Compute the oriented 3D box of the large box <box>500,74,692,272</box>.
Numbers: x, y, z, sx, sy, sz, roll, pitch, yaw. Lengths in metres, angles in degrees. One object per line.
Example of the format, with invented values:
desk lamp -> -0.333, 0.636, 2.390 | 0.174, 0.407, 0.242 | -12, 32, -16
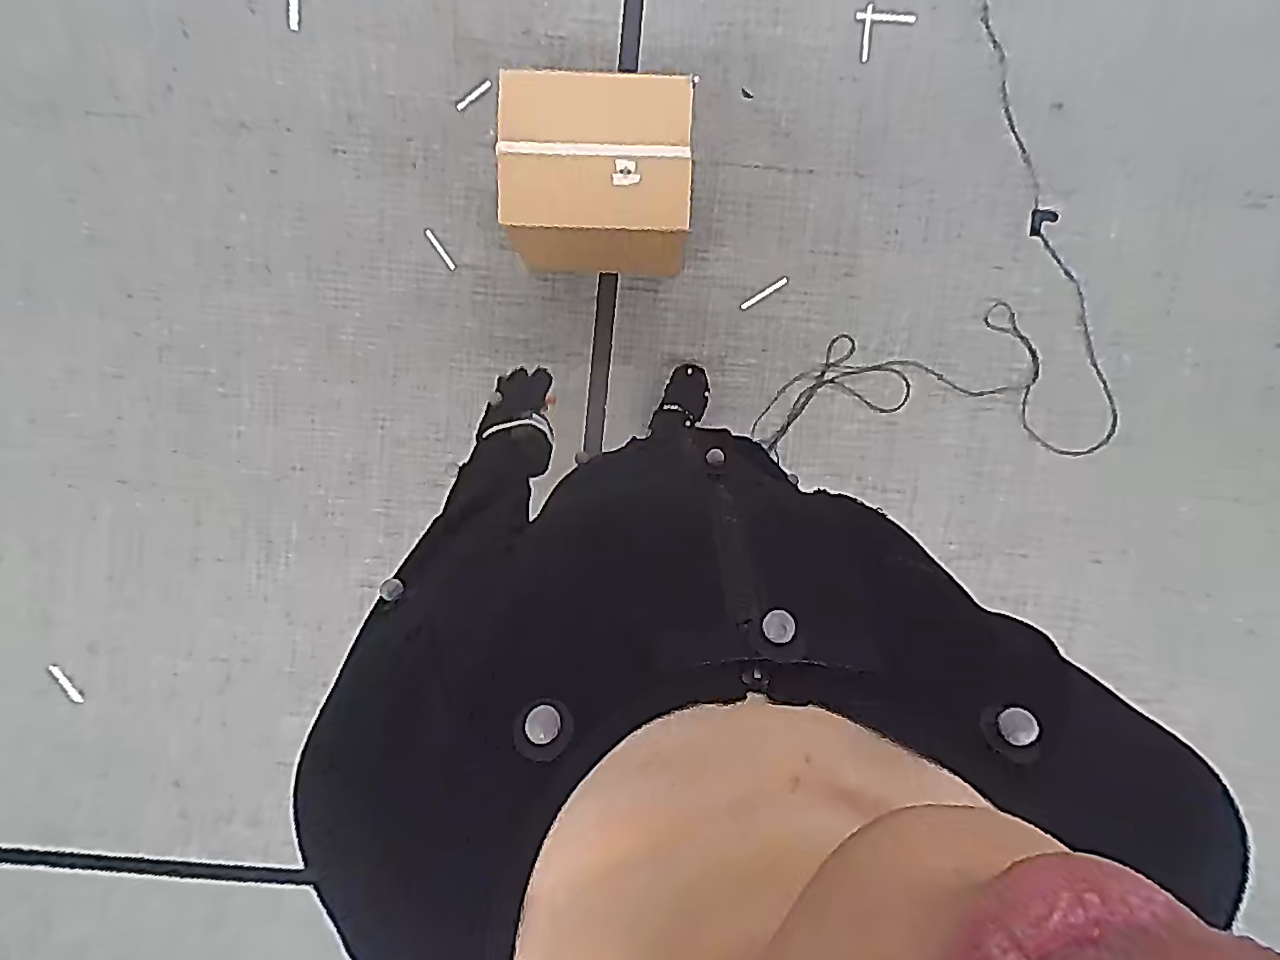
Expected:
large box -> -0.097, -0.695, 1.279 | 0.408, 0.320, 0.320 | 1, 95, -1
